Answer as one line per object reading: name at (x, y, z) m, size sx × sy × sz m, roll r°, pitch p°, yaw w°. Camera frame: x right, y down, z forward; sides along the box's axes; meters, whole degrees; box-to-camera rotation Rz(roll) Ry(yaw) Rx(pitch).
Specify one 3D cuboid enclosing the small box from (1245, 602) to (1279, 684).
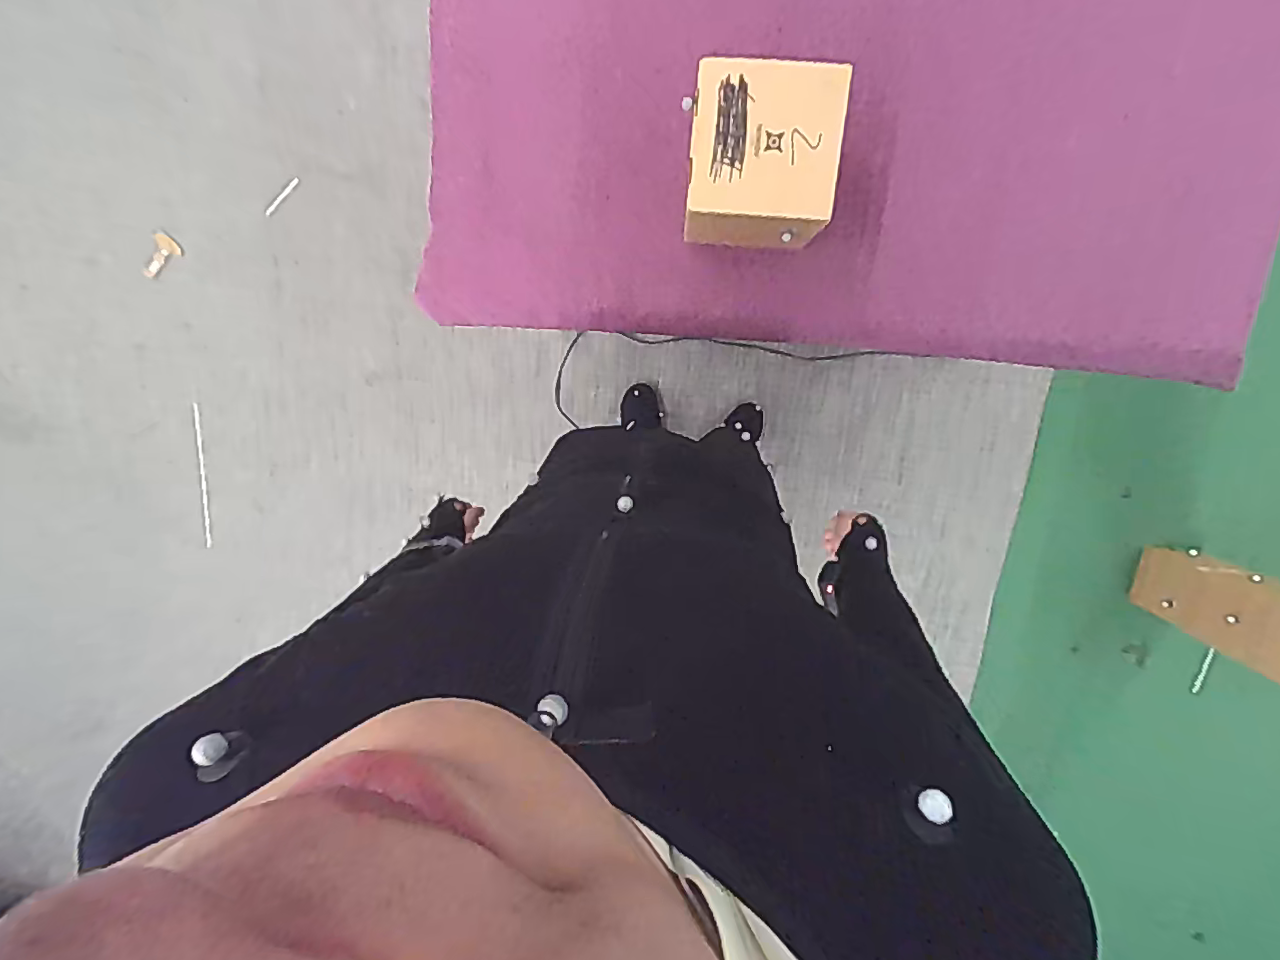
small box at (1.508, 0.382, 1.185) m, size 0.168 × 0.176 × 0.179 m, roll 2°, pitch 102°, yaw 4°

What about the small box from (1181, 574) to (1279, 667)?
small box at (1.518, 0.351, 1.346) m, size 0.168 × 0.176 × 0.179 m, roll 4°, pitch 101°, yaw 4°

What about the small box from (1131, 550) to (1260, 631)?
small box at (1.528, 0.311, 1.502) m, size 0.168 × 0.176 × 0.179 m, roll 6°, pitch 102°, yaw 3°
